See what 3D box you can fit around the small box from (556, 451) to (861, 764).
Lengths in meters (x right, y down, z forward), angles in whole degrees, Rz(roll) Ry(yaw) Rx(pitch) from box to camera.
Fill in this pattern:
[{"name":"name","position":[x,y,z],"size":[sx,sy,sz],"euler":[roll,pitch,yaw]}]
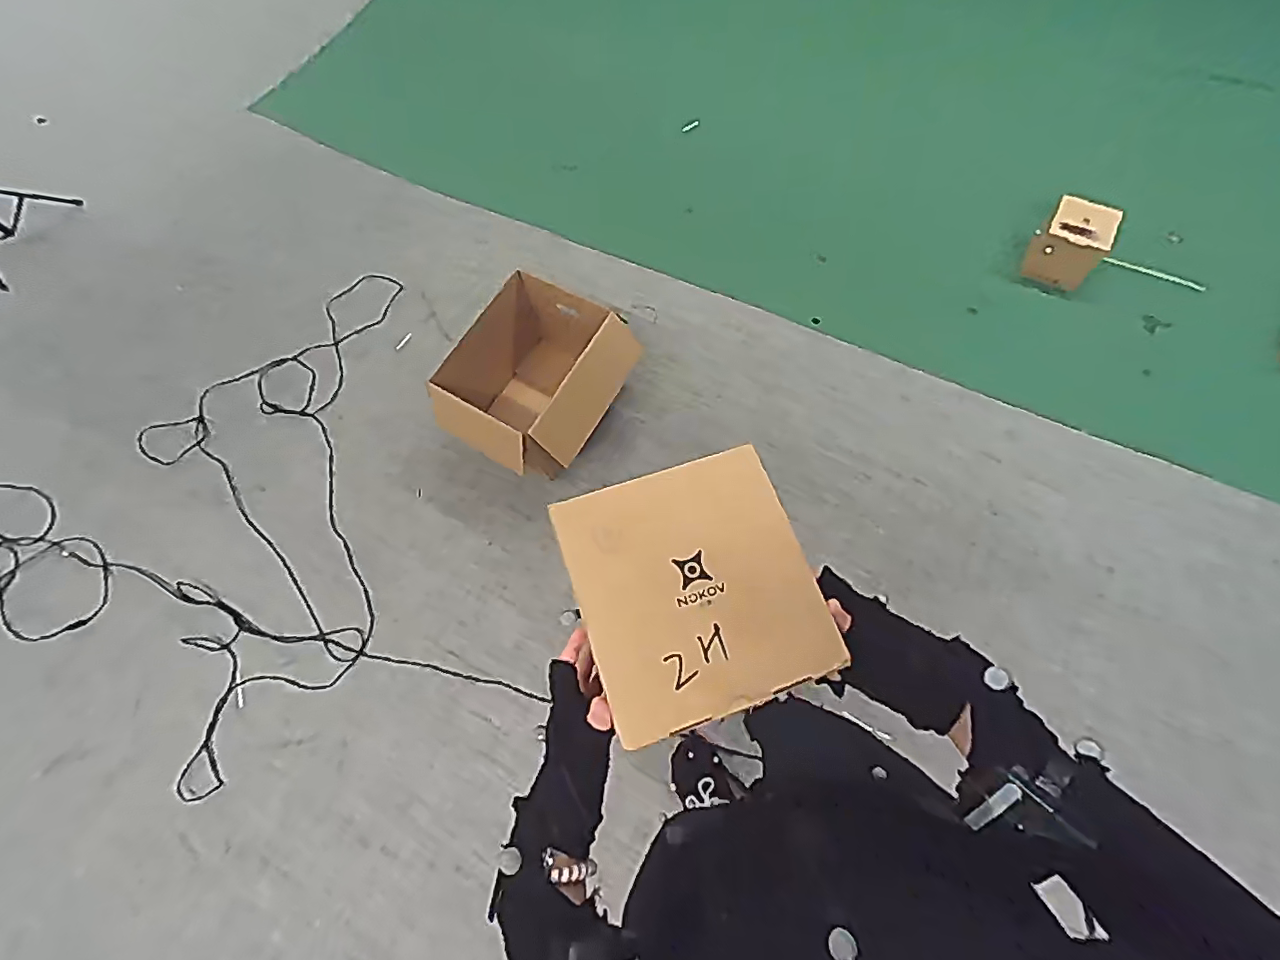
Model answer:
[{"name":"small box","position":[0.037,0.104,0.442],"size":[0.168,0.176,0.179],"euler":[-17,71,-9]}]
